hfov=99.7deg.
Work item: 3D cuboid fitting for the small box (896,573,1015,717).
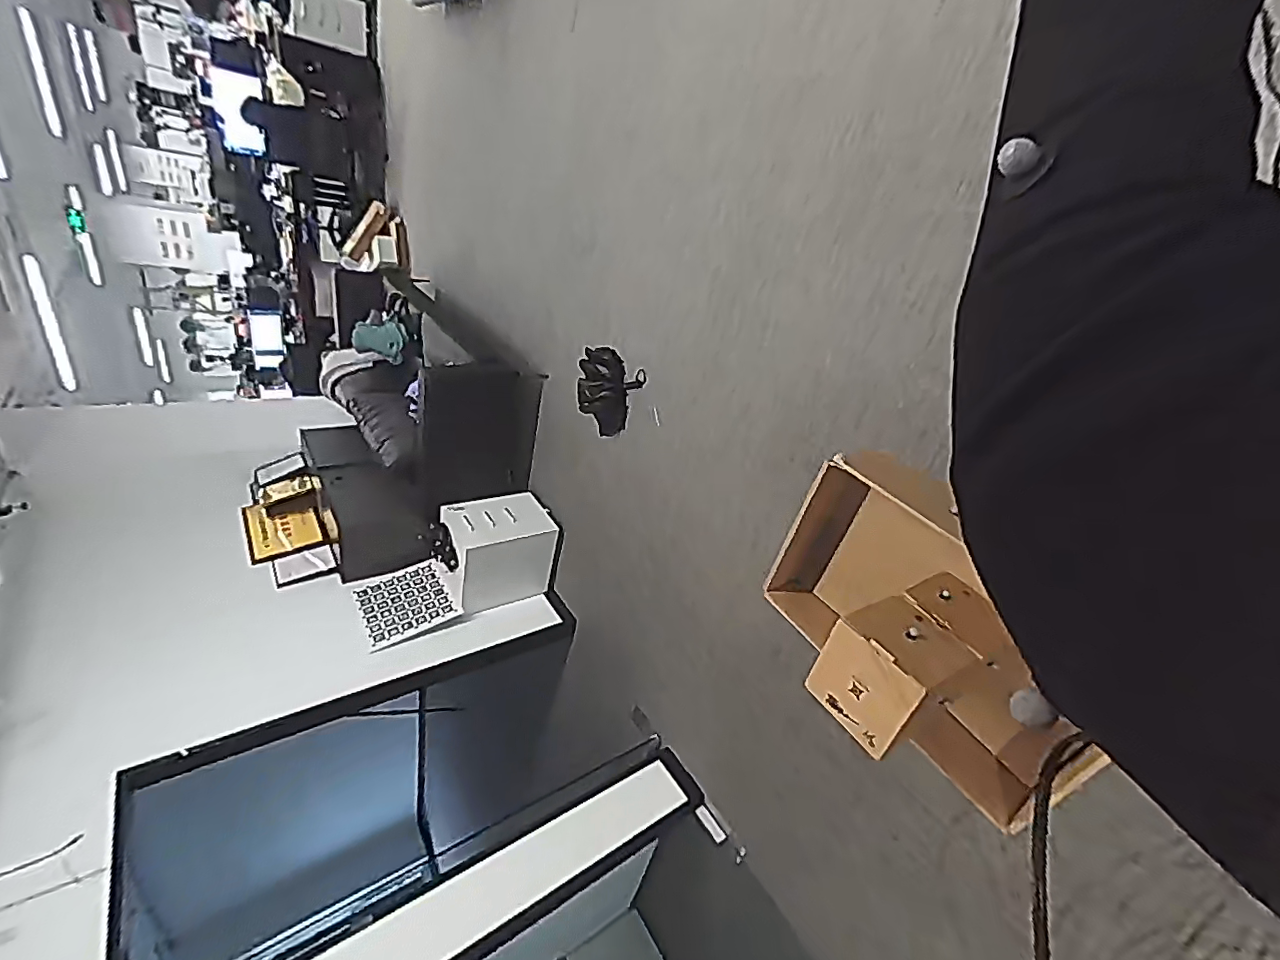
[{"bbox_3d":[0.564,0.302,1.023,0.168,0.176,0.179,46,135,40],"label":"small box"}]

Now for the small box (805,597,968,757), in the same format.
[{"bbox_3d":[0.428,0.329,0.936,0.168,0.176,0.179,44,131,42],"label":"small box"}]
